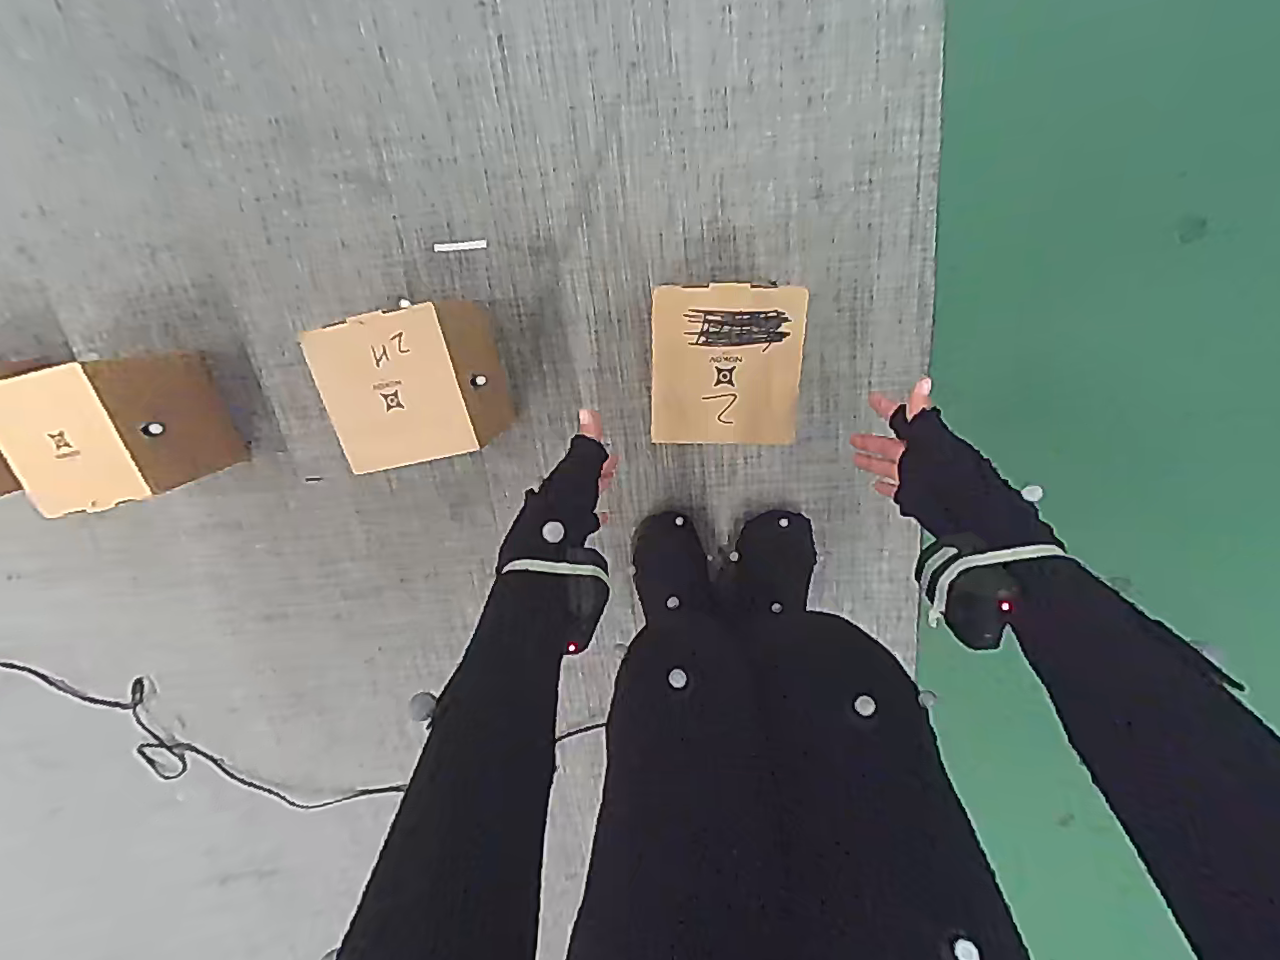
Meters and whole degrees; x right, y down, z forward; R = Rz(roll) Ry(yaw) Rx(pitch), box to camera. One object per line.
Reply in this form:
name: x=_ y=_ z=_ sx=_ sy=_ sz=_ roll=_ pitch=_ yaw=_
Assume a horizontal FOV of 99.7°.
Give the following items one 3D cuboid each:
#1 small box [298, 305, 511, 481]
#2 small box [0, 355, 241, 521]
small box: x=-0.280 y=-0.118 z=0.691 sx=0.168 sy=0.176 sz=0.179 roll=-10 pitch=108 yaw=5
small box: x=-0.701 y=-0.067 z=0.730 sx=0.168 sy=0.176 sz=0.179 roll=-11 pitch=109 yaw=7
